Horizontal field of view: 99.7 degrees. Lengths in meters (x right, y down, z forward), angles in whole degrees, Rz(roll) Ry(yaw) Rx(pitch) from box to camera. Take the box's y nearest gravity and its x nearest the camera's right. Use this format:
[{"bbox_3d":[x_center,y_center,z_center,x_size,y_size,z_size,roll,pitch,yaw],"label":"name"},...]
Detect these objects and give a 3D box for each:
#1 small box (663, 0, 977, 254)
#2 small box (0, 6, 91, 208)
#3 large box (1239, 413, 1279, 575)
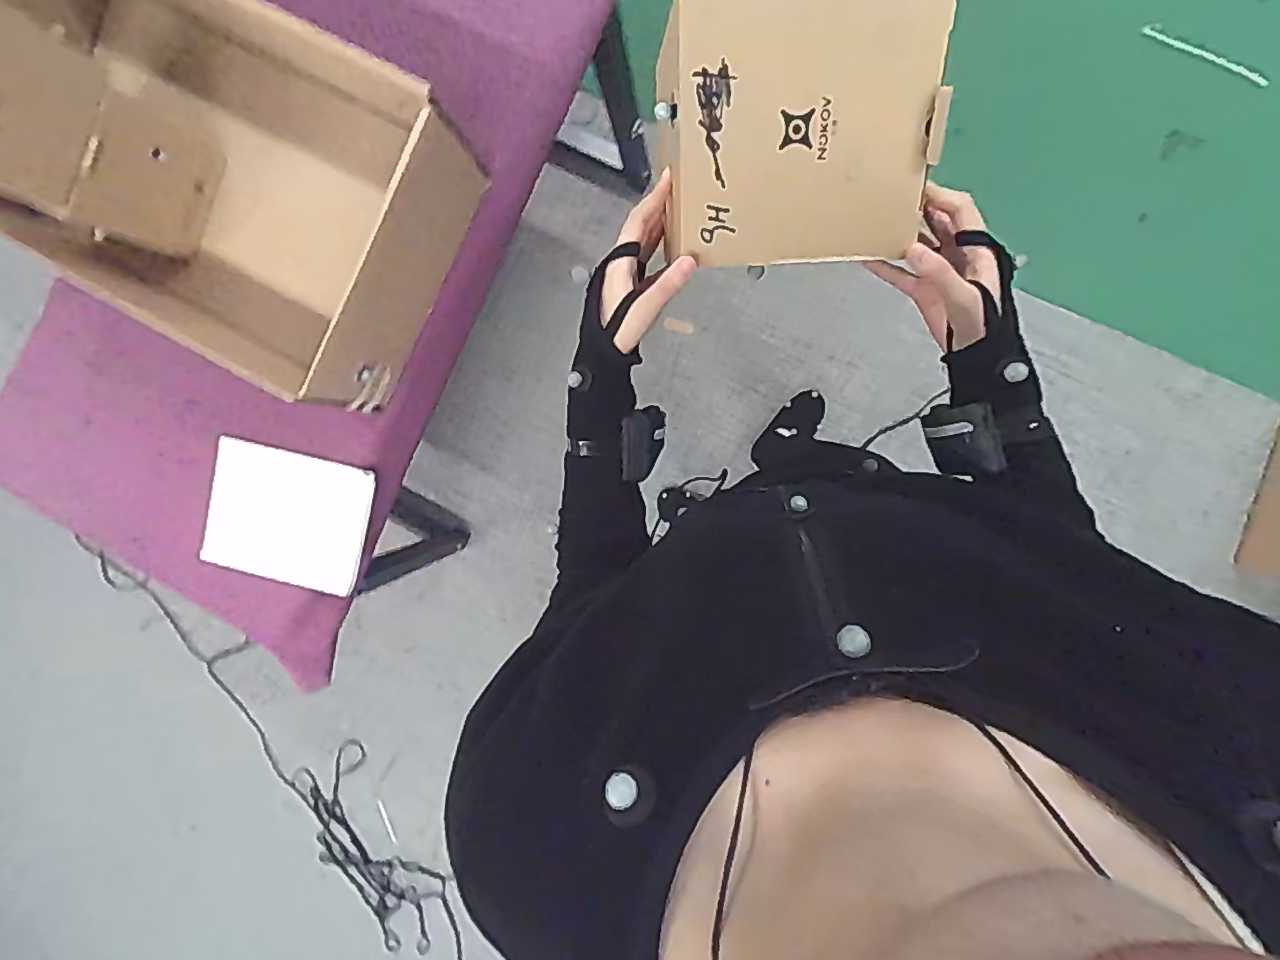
[{"bbox_3d":[0.115,-0.269,0.424,0.179,0.176,0.168,-2,113,-3],"label":"small box"},{"bbox_3d":[-0.724,-0.417,0.543,0.168,0.176,0.179,25,96,3],"label":"small box"},{"bbox_3d":[1.673,0.057,1.191,0.320,0.320,0.408,12,94,4],"label":"large box"}]
